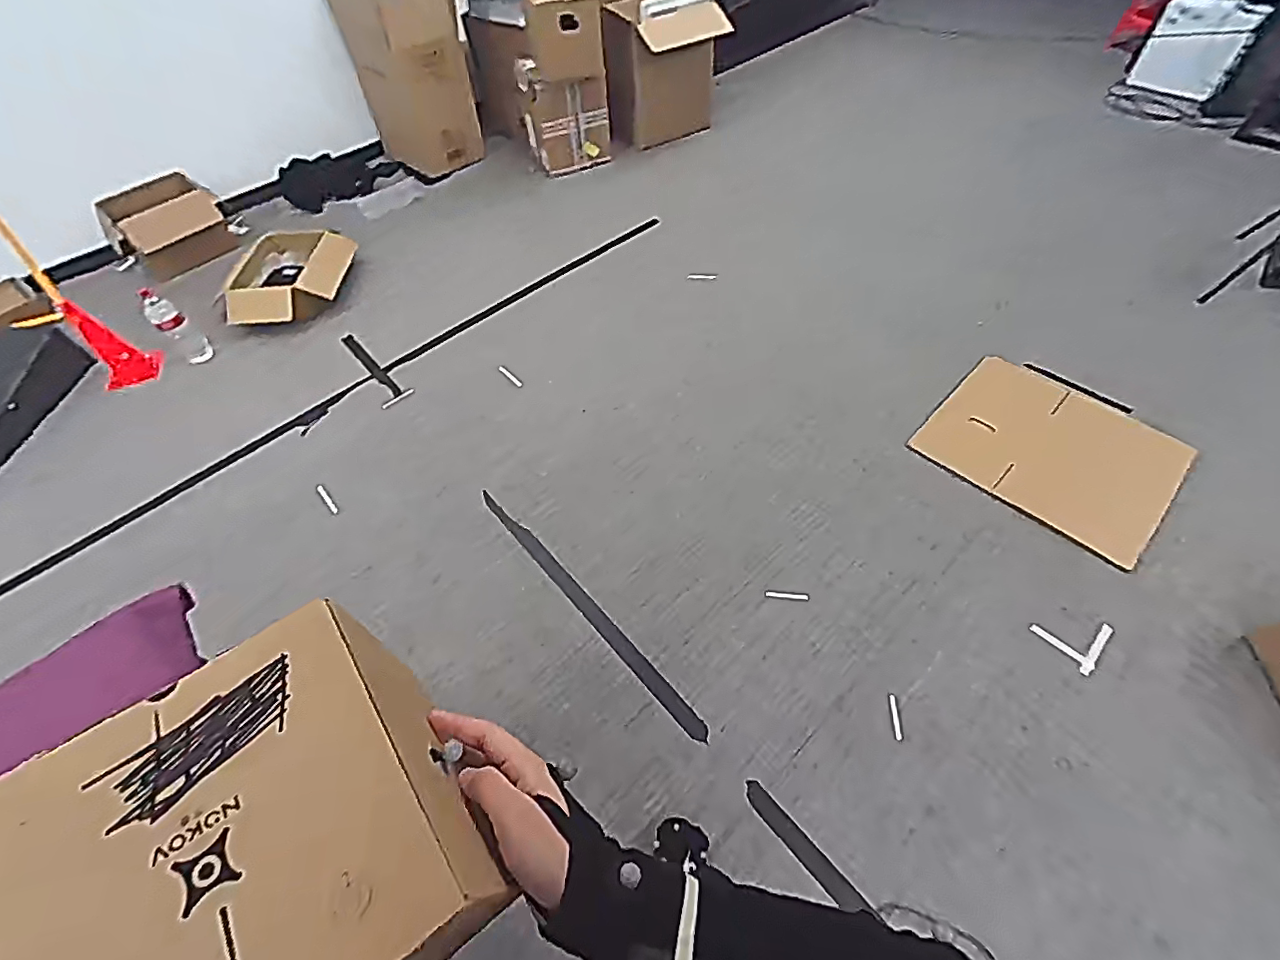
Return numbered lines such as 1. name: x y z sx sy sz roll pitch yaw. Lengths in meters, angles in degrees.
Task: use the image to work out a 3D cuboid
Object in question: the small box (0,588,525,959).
1. small box: -0.187 0.201 0.306 0.168 0.176 0.179 -32 62 -20
